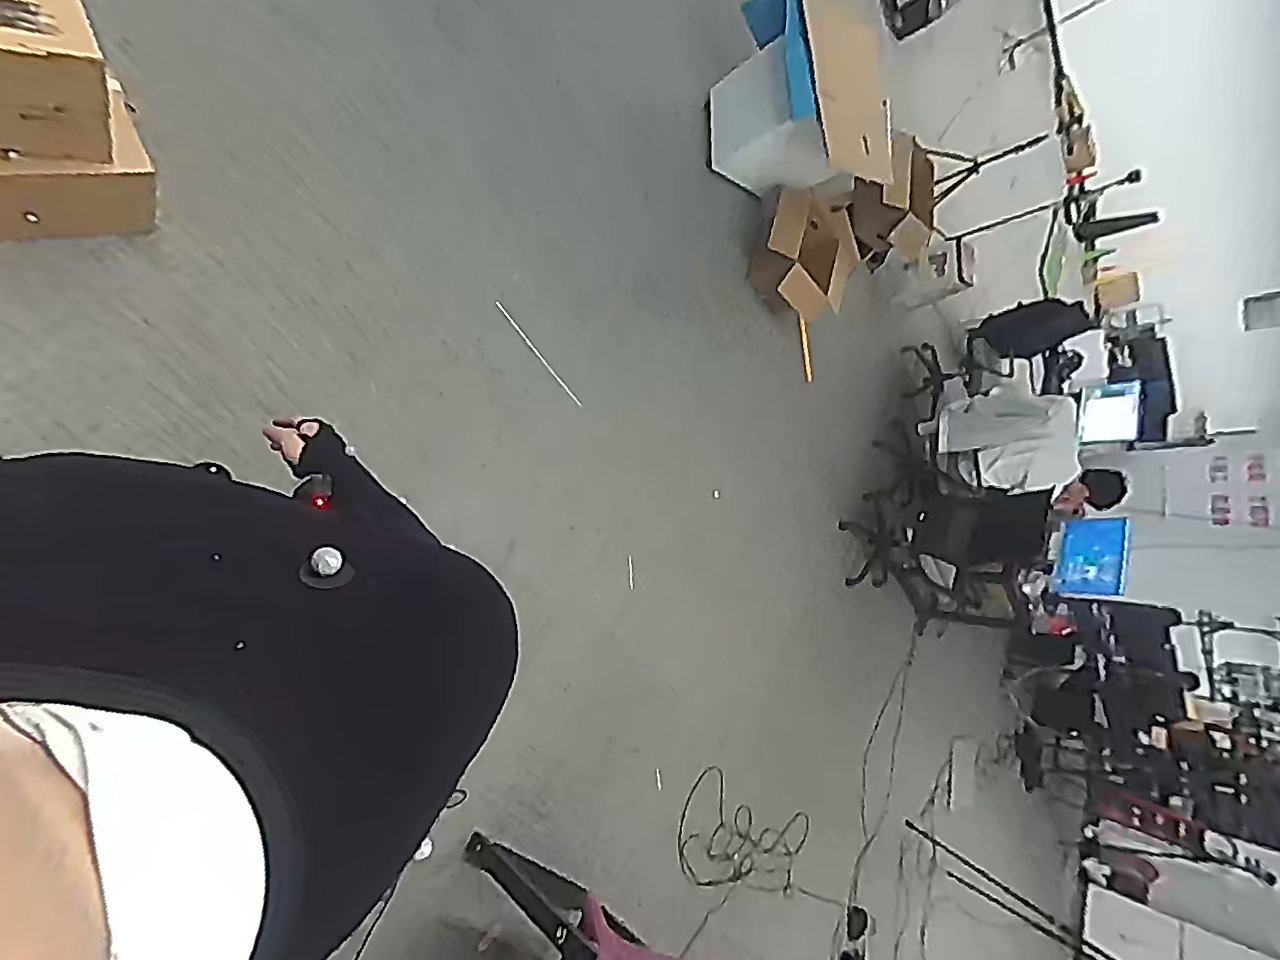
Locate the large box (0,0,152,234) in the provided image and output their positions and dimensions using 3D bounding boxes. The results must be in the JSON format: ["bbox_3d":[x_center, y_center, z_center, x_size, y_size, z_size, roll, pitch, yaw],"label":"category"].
[{"bbox_3d":[-1.225,-0.666,0.997,0.408,0.320,0.320,-29,107,-38],"label":"large box"}]

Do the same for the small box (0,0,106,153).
[{"bbox_3d":[-1.001,-0.654,0.868,0.168,0.176,0.179,-25,106,-40],"label":"small box"}]
